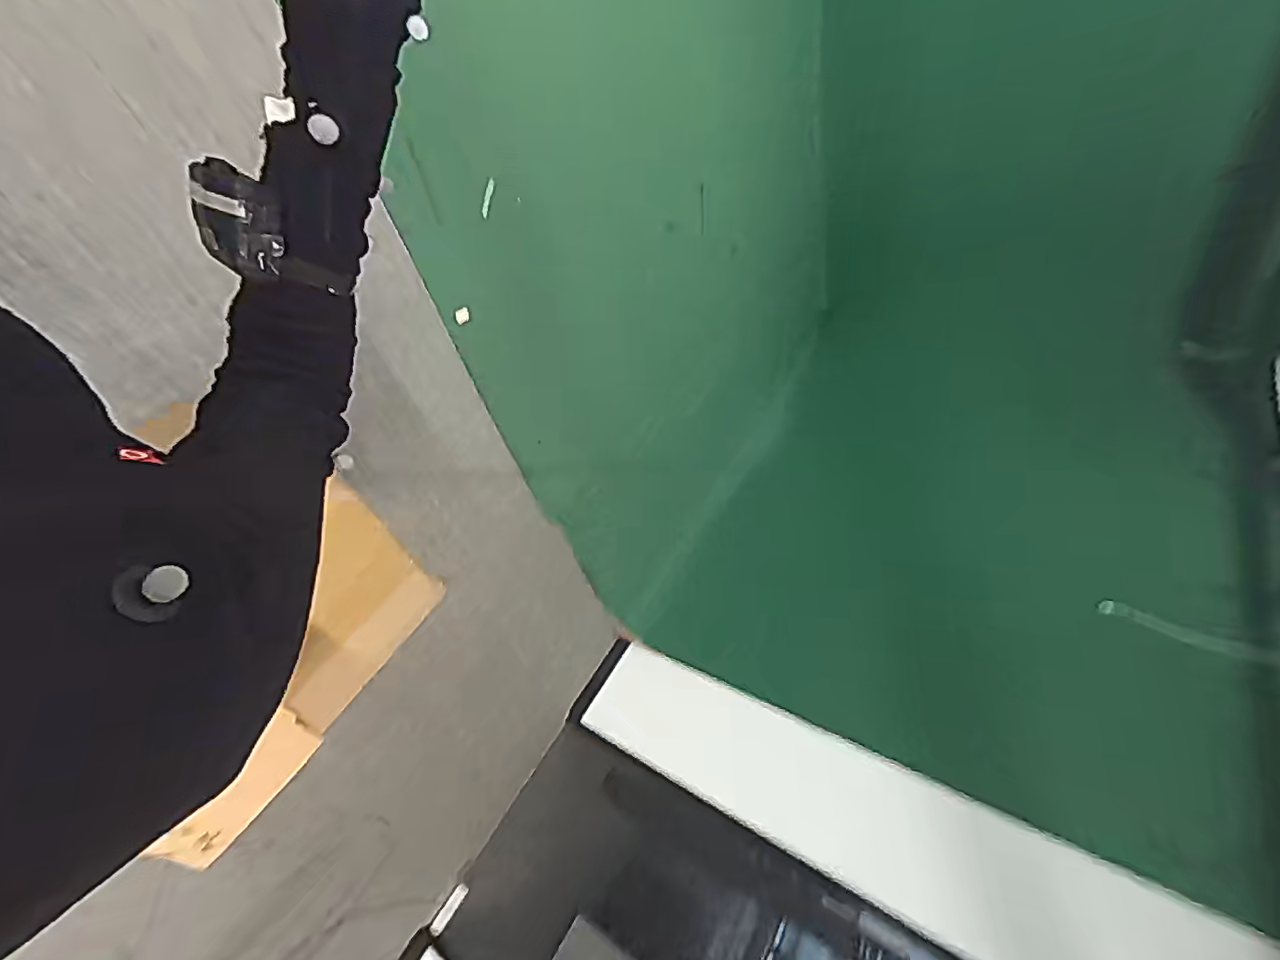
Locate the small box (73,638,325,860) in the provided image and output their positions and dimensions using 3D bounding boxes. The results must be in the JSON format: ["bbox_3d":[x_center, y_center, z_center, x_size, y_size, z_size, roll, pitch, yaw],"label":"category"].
[{"bbox_3d":[-0.570,0.337,0.706,0.179,0.176,0.168,-52,135,-33],"label":"small box"}]
